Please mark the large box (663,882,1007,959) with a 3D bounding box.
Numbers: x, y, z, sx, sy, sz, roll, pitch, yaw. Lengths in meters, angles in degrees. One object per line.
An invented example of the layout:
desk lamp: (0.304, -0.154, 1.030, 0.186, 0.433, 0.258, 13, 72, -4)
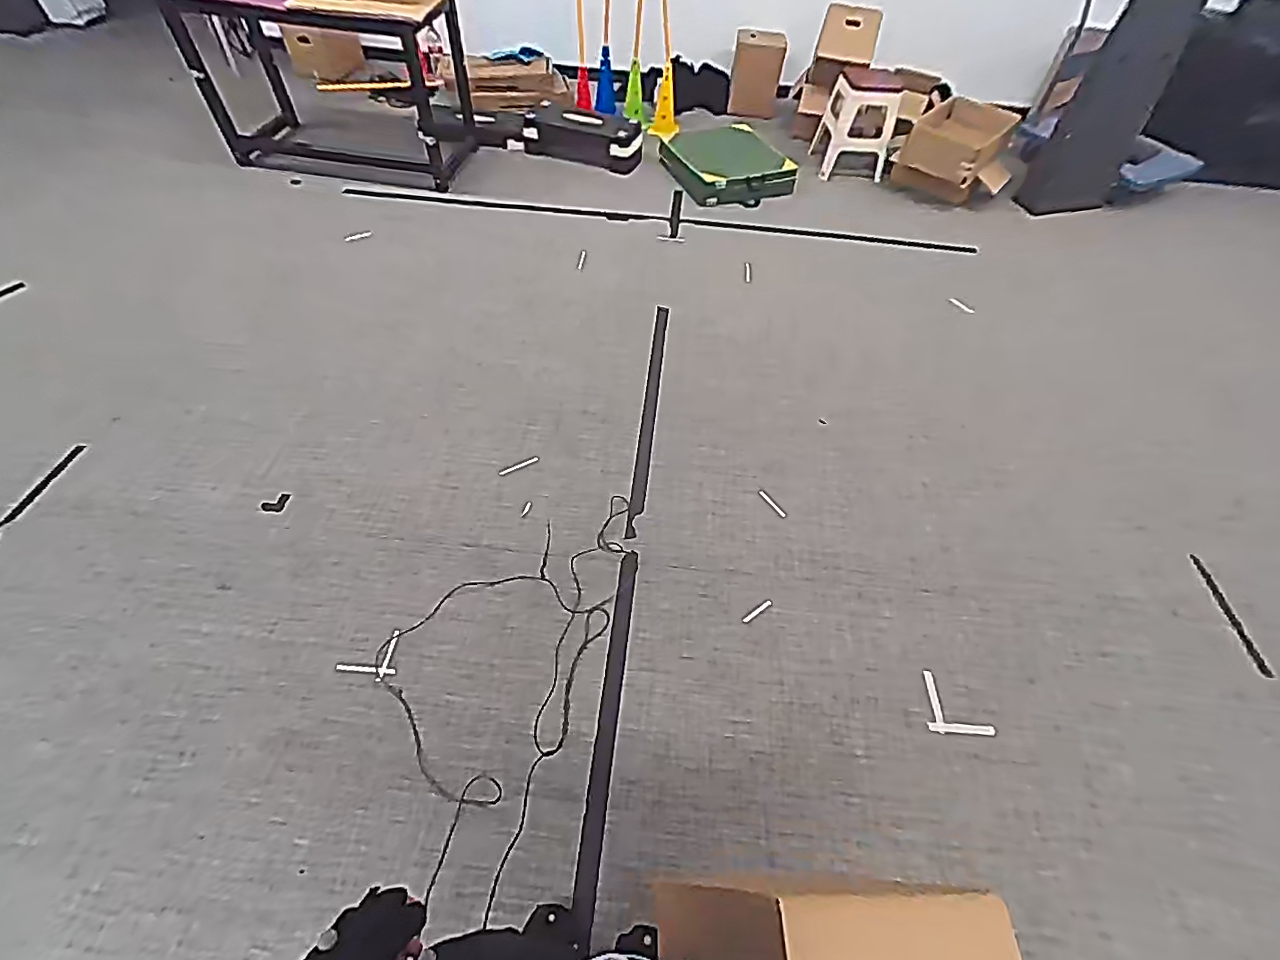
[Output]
large box: (0.241, 0.725, 0.707, 0.320, 0.408, 0.320, 10, 54, -13)
